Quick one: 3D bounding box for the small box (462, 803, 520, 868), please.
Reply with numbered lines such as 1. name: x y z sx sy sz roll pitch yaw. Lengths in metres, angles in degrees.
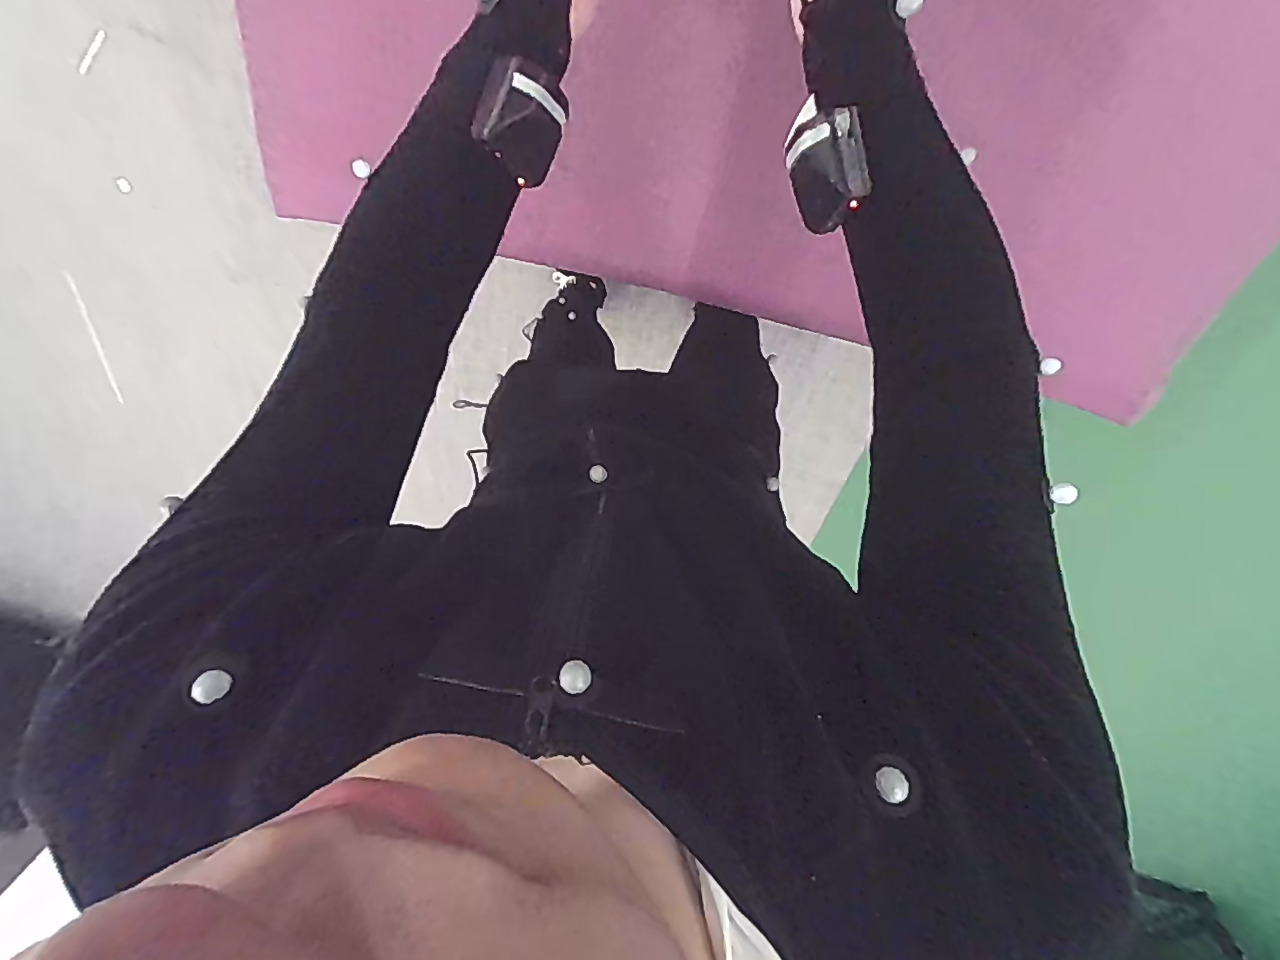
1. small box: -0.558 1.346 2.010 0.168 0.176 0.179 18 122 -1
